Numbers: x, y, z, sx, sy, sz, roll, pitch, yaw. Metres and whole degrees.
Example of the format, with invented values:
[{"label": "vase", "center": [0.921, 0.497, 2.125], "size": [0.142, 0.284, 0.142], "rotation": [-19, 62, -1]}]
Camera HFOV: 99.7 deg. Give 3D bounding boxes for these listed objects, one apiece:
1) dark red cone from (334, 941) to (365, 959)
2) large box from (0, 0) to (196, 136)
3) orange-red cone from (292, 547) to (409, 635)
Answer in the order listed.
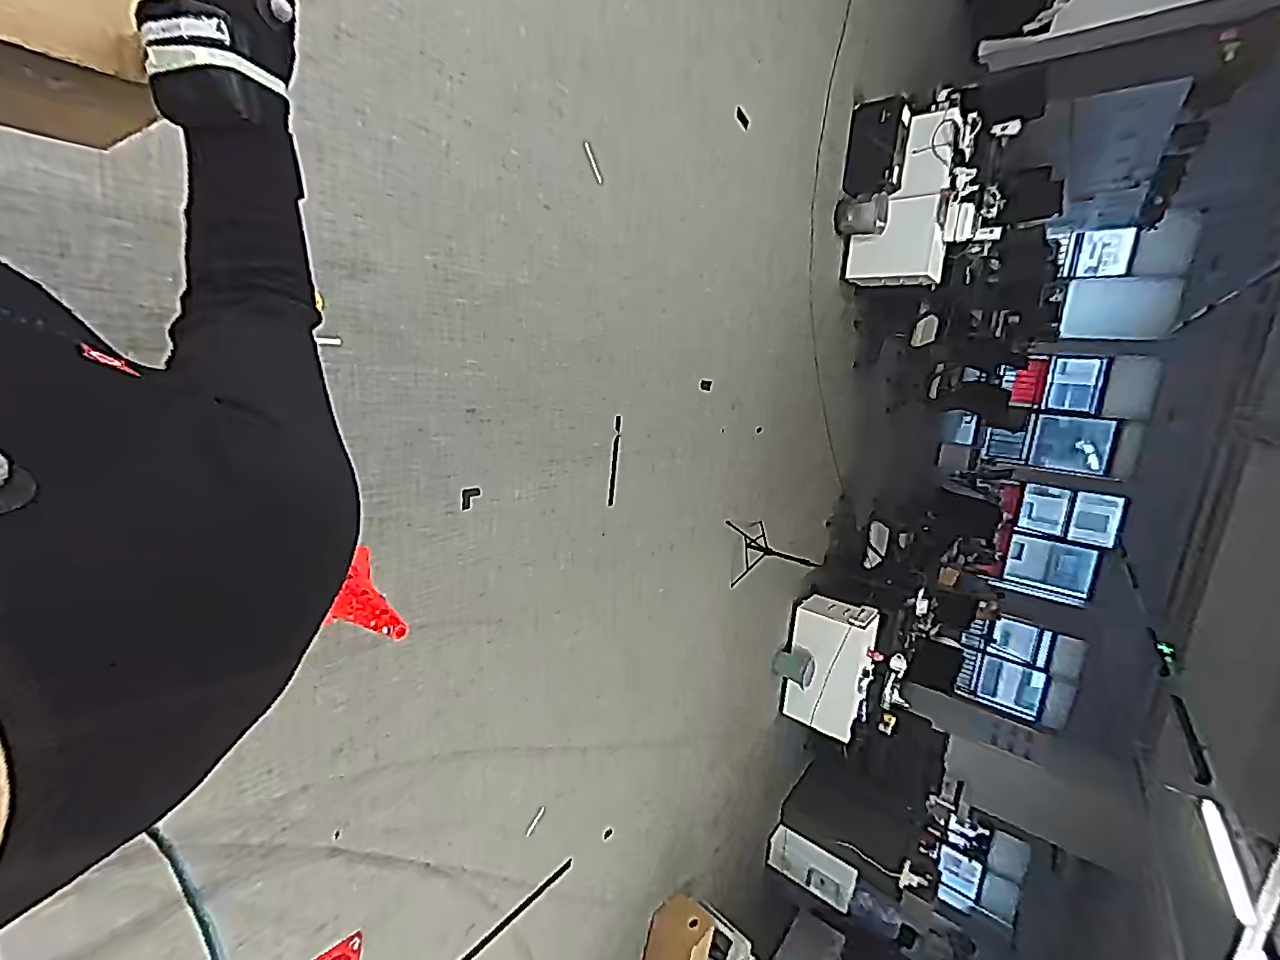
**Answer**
[{"label": "dark red cone", "center": [-0.836, 1.603, 1.582], "size": [0.201, 0.394, 0.202], "rotation": [-1, 101, -52]}, {"label": "large box", "center": [-0.543, -0.432, 0.280], "size": [0.408, 0.320, 0.320], "rotation": [-13, 115, -52]}, {"label": "orange-red cone", "center": [-0.709, 0.323, 1.390], "size": [0.198, 0.360, 0.199], "rotation": [-15, 111, -51]}]
